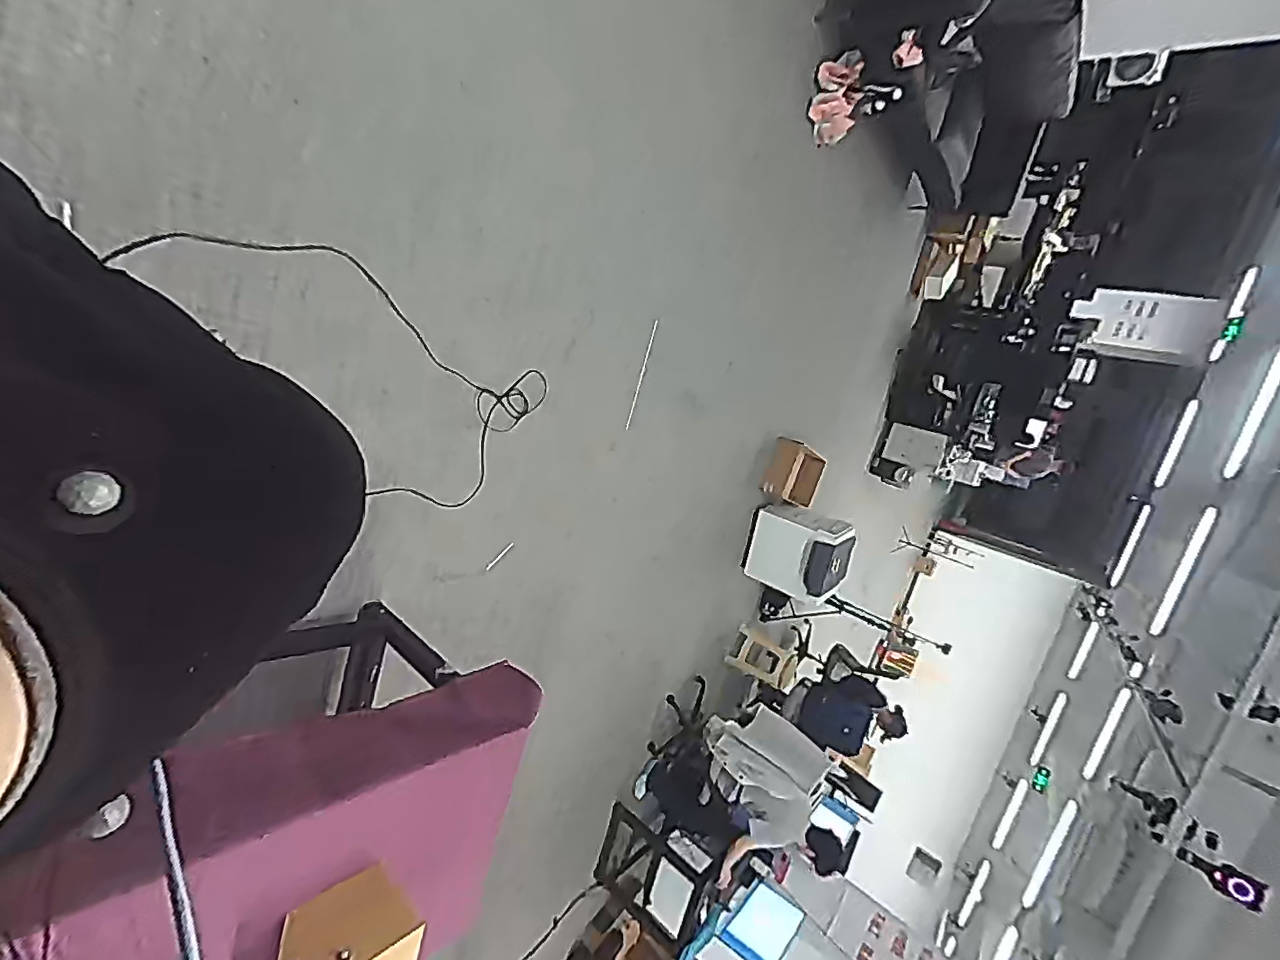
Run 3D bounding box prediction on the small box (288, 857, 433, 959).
[{"bbox_3d":[-0.521,0.863,1.008,0.179,0.176,0.168,1,107,-52],"label":"small box"}]
